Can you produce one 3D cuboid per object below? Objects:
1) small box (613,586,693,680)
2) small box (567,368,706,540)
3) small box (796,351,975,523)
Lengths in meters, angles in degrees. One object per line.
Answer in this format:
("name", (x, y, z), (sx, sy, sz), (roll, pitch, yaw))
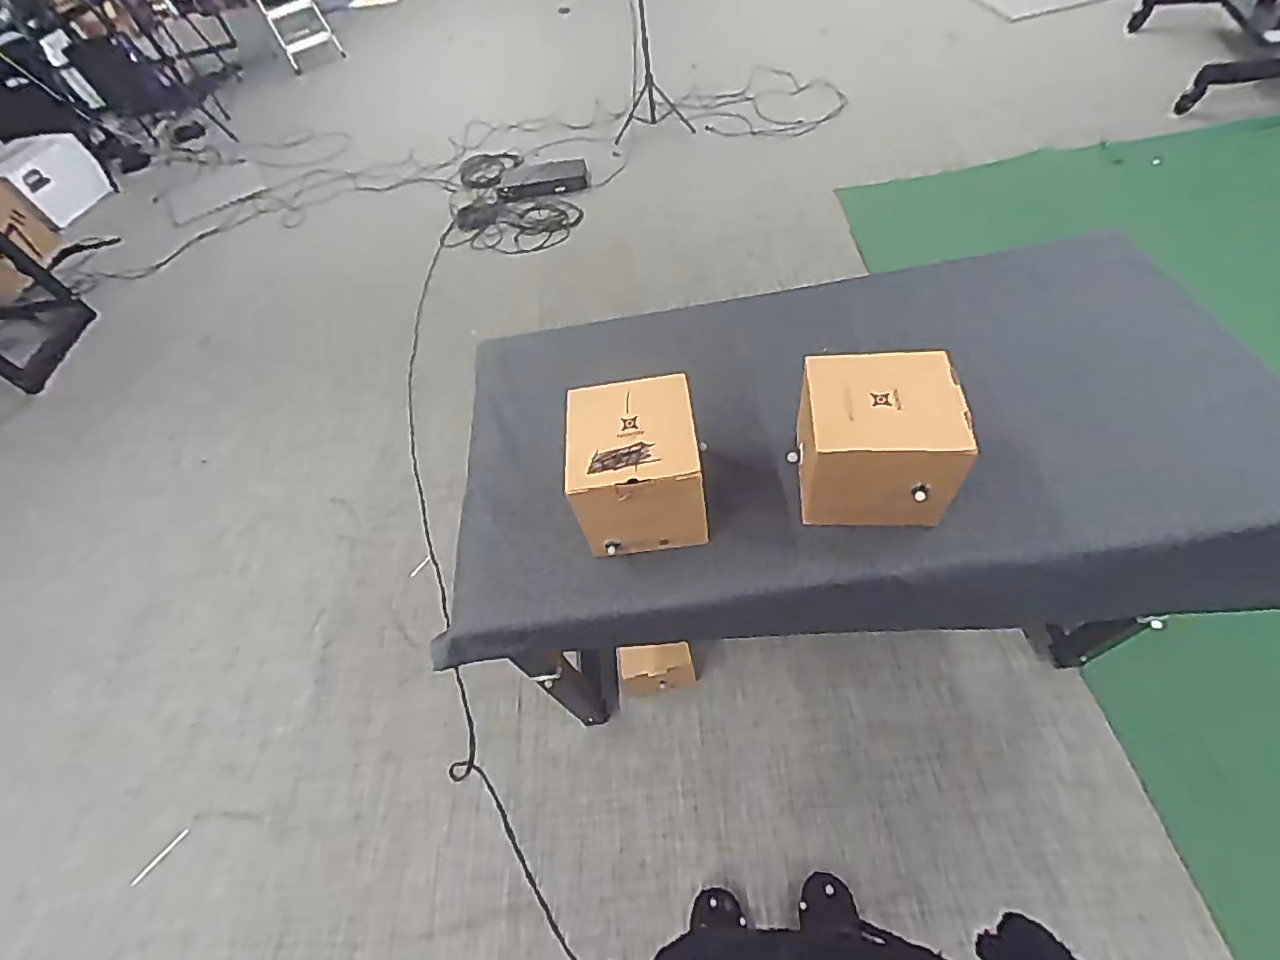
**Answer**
("small box", (0.034, 0.391, 1.360), (0.168, 0.176, 0.179), (-12, 56, 1))
("small box", (0.001, -0.027, 0.756), (0.168, 0.176, 0.179), (-6, 54, 5))
("small box", (0.311, -0.052, 0.727), (0.179, 0.176, 0.168), (0, 55, 10))
